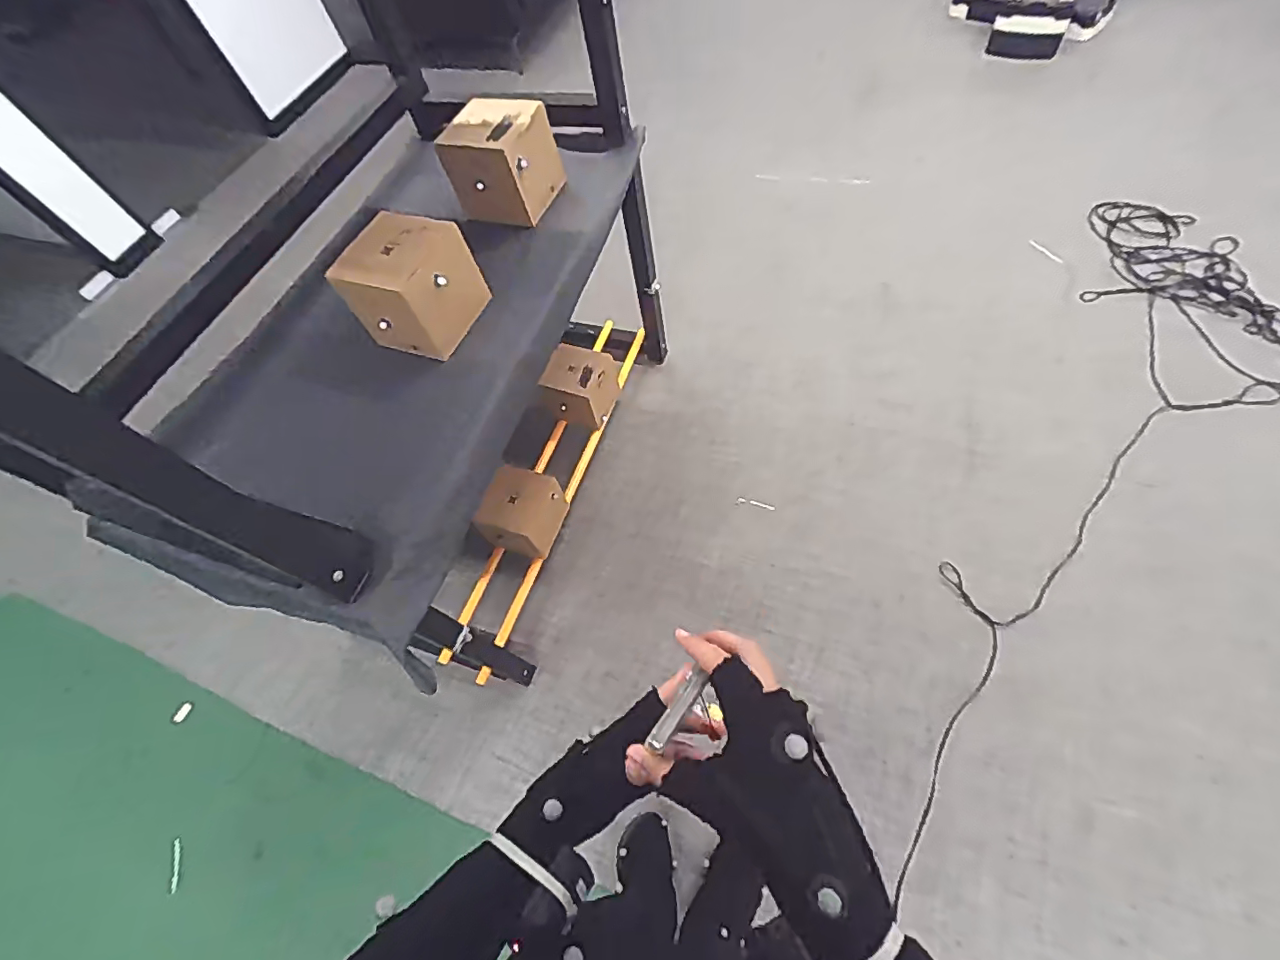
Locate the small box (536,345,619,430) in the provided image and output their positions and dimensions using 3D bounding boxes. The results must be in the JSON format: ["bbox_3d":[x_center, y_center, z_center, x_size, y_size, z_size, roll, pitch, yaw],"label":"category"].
[{"bbox_3d":[-0.179,-0.271,1.620,0.179,0.176,0.168,17,64,18],"label":"small box"}]

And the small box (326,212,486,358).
[{"bbox_3d":[-0.407,-0.347,0.976,0.168,0.176,0.179,16,64,18],"label":"small box"}]
